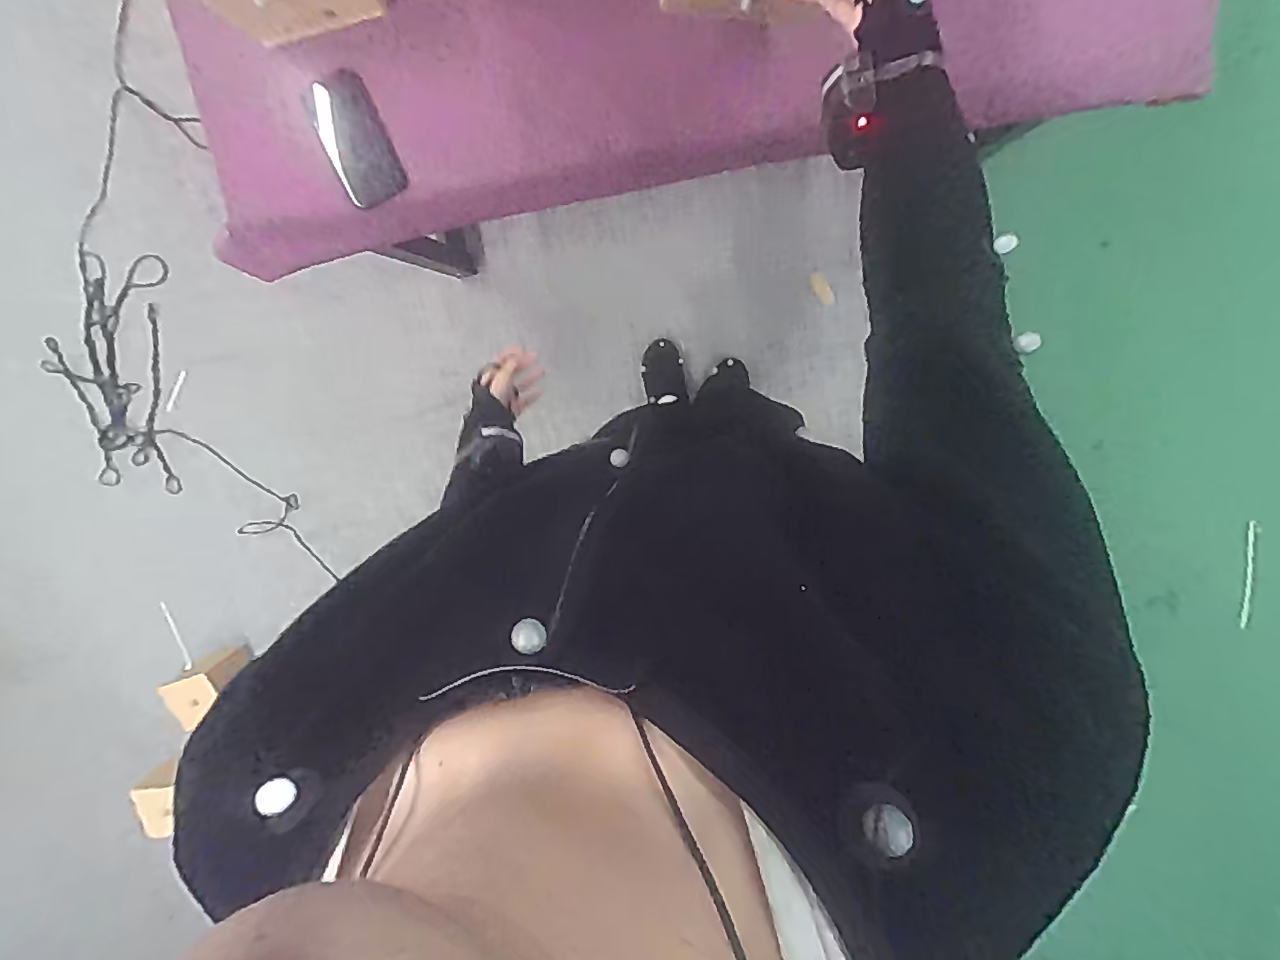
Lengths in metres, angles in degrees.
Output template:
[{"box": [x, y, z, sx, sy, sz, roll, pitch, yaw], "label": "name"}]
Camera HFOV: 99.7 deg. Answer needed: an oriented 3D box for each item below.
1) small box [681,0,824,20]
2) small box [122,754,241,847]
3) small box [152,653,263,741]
[{"box": [0.113, -0.537, 0.468, 0.168, 0.176, 0.179, 2, 115, -5], "label": "small box"}, {"box": [-1.322, 0.926, 1.571, 0.179, 0.176, 0.168, -8, 103, 7], "label": "small box"}, {"box": [-1.333, 0.667, 1.680, 0.179, 0.176, 0.168, -19, 102, 8], "label": "small box"}]
